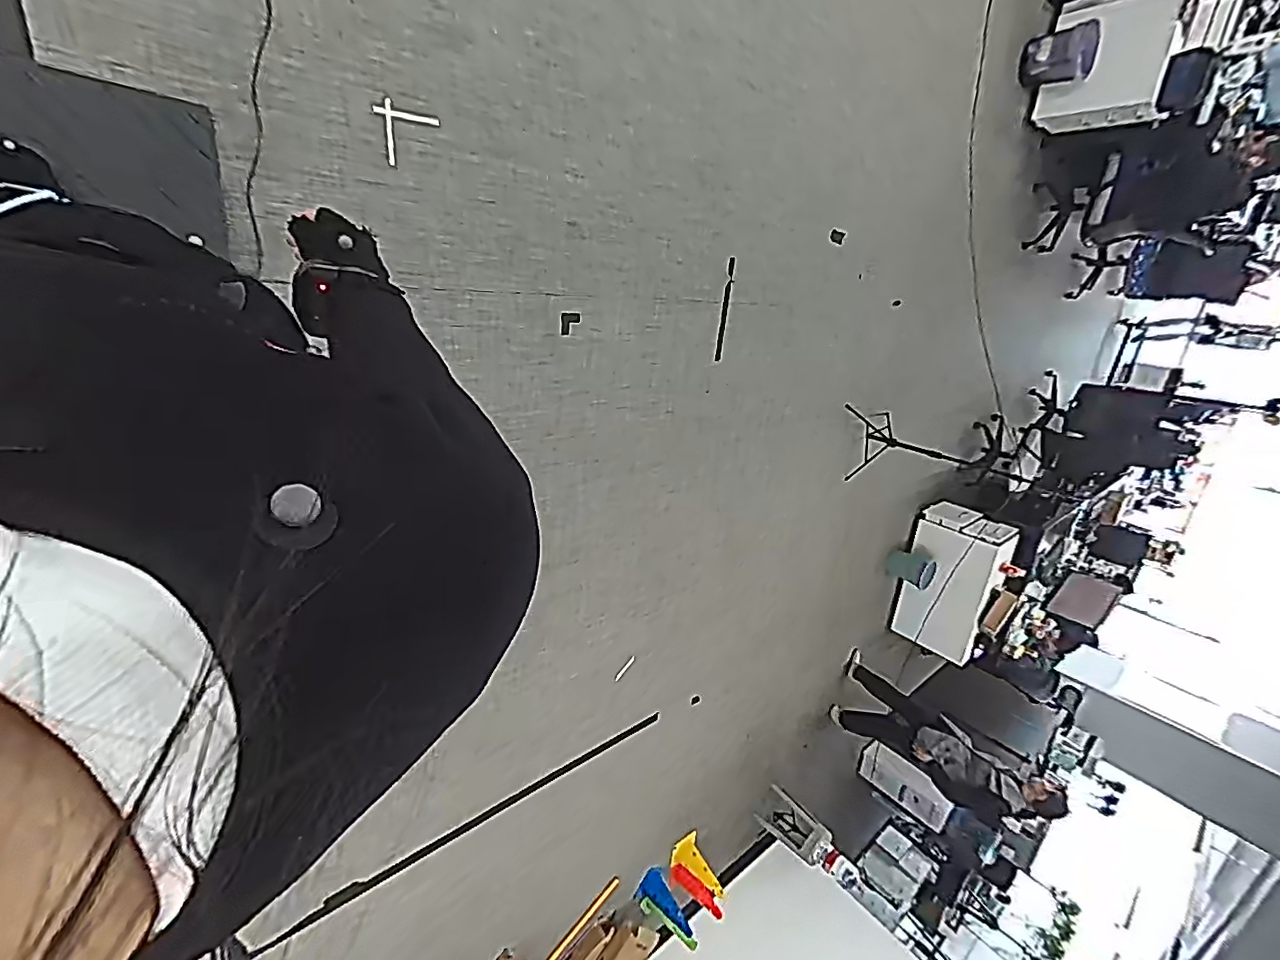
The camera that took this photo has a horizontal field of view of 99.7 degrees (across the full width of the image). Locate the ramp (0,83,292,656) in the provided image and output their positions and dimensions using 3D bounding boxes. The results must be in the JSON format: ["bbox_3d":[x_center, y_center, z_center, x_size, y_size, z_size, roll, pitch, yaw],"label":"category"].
[{"bbox_3d":[-1.033,-0.196,1.043,0.509,0.206,0.991,-12,114,-36],"label":"ramp"}]
